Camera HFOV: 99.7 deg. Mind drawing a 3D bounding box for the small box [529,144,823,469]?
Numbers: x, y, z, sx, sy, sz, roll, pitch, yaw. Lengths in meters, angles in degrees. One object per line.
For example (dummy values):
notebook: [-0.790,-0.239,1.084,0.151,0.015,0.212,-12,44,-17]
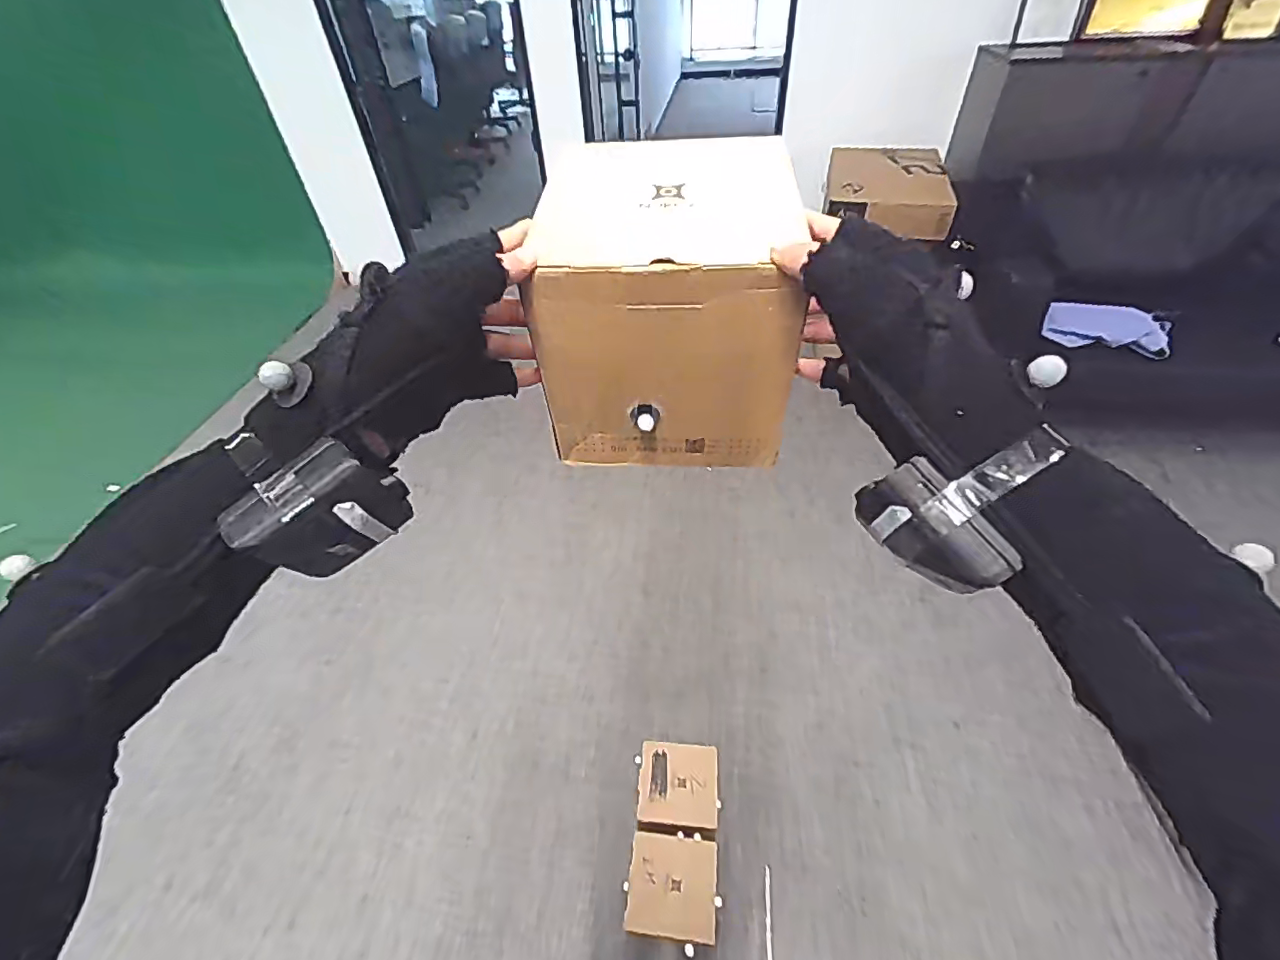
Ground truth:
small box: [0.026,-0.130,0.410,0.168,0.176,0.179,2,52,4]
